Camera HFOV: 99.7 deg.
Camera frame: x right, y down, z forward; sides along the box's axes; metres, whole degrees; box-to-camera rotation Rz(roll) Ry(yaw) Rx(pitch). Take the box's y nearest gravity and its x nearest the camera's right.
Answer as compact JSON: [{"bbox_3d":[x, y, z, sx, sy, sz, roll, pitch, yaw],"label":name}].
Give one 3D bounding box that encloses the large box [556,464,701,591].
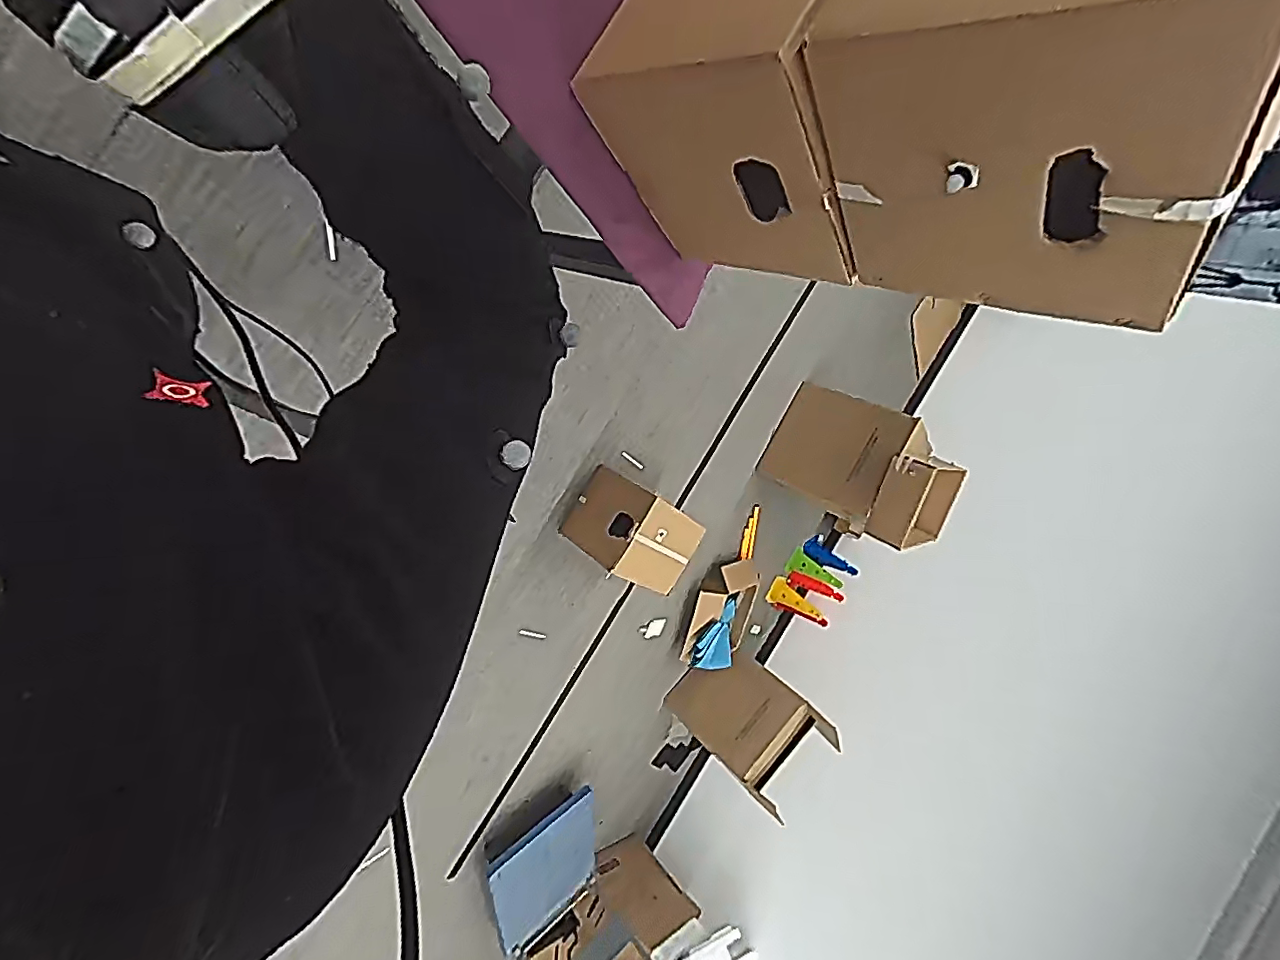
[{"bbox_3d":[-0.039,0.188,2.079,0.408,0.320,0.320,34,86,-51],"label":"large box"}]
